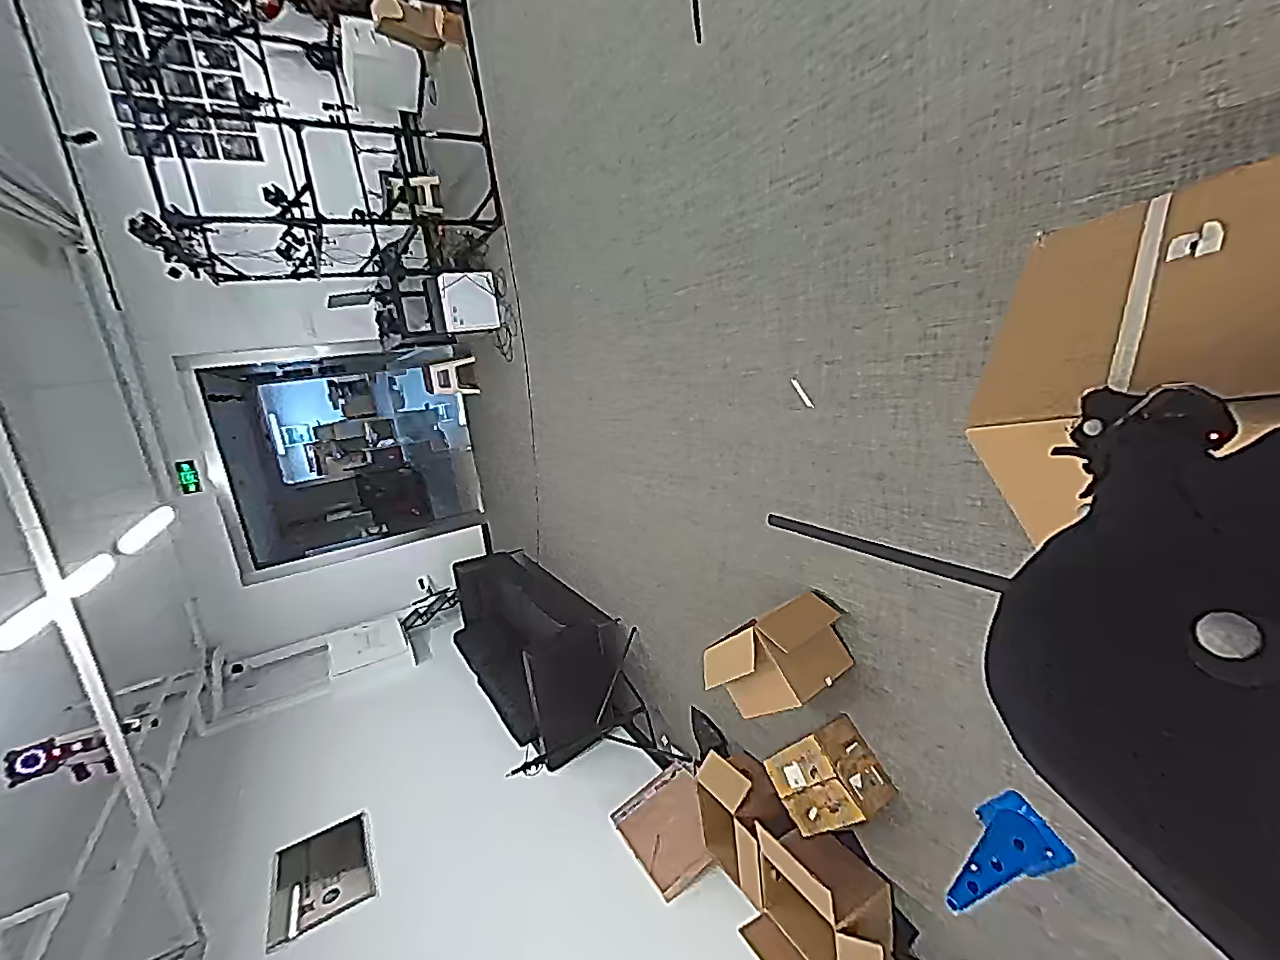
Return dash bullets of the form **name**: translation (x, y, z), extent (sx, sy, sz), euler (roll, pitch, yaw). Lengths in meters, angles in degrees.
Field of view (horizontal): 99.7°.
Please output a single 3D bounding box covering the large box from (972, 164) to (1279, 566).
- **large box**: translation (0.728, -0.134, 0.739), extent (0.320, 0.408, 0.320), euler (44, 156, -25)
